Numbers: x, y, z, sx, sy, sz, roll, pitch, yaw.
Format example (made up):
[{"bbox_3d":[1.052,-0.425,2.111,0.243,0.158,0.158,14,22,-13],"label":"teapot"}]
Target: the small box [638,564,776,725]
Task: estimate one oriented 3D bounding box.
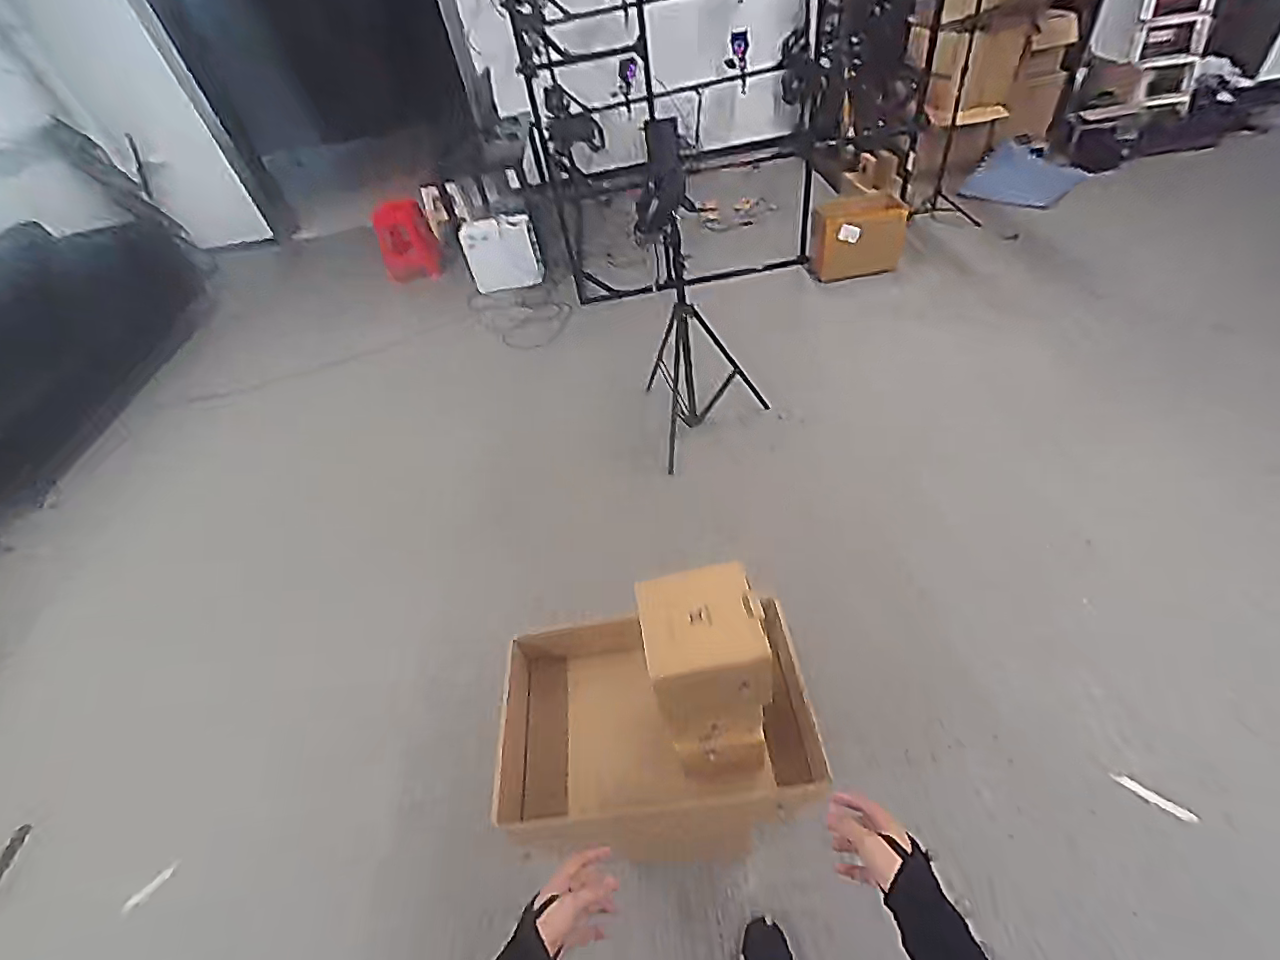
[{"bbox_3d":[0.102,0.259,0.847,0.179,0.176,0.168,-12,44,1],"label":"small box"}]
